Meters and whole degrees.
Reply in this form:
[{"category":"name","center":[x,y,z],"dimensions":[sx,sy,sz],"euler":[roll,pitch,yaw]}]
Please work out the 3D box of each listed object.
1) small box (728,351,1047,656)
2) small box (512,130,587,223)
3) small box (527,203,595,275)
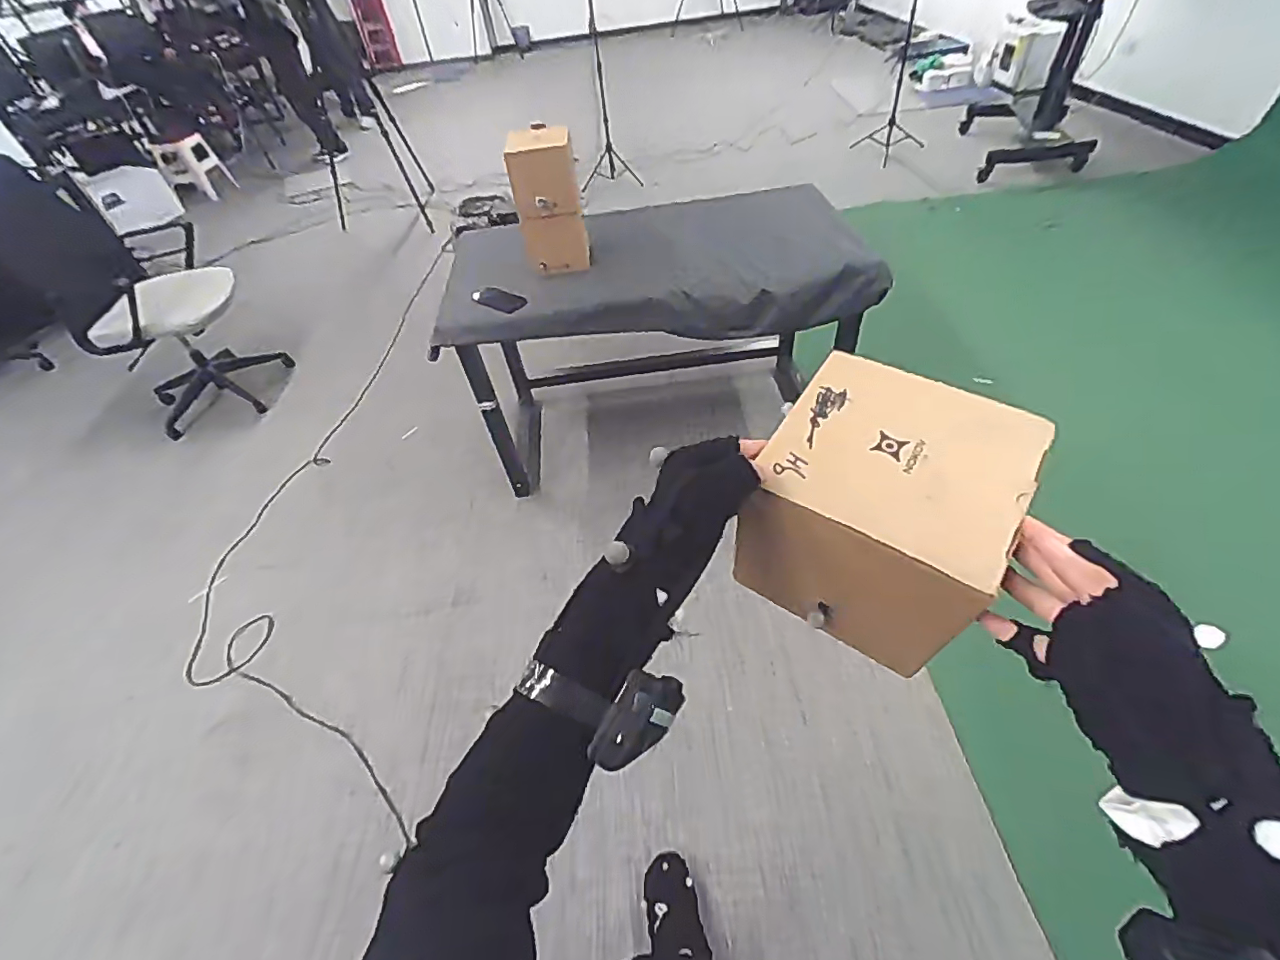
[{"category":"small box","center":[0.193,0.027,0.465],"dimensions":[0.179,0.176,0.168],"euler":[29,60,23]},{"category":"small box","center":[-0.238,-0.821,1.466],"dimensions":[0.168,0.176,0.179],"euler":[-7,48,2]},{"category":"small box","center":[-0.225,-0.714,1.587],"dimensions":[0.168,0.176,0.179],"euler":[-6,46,2]}]
